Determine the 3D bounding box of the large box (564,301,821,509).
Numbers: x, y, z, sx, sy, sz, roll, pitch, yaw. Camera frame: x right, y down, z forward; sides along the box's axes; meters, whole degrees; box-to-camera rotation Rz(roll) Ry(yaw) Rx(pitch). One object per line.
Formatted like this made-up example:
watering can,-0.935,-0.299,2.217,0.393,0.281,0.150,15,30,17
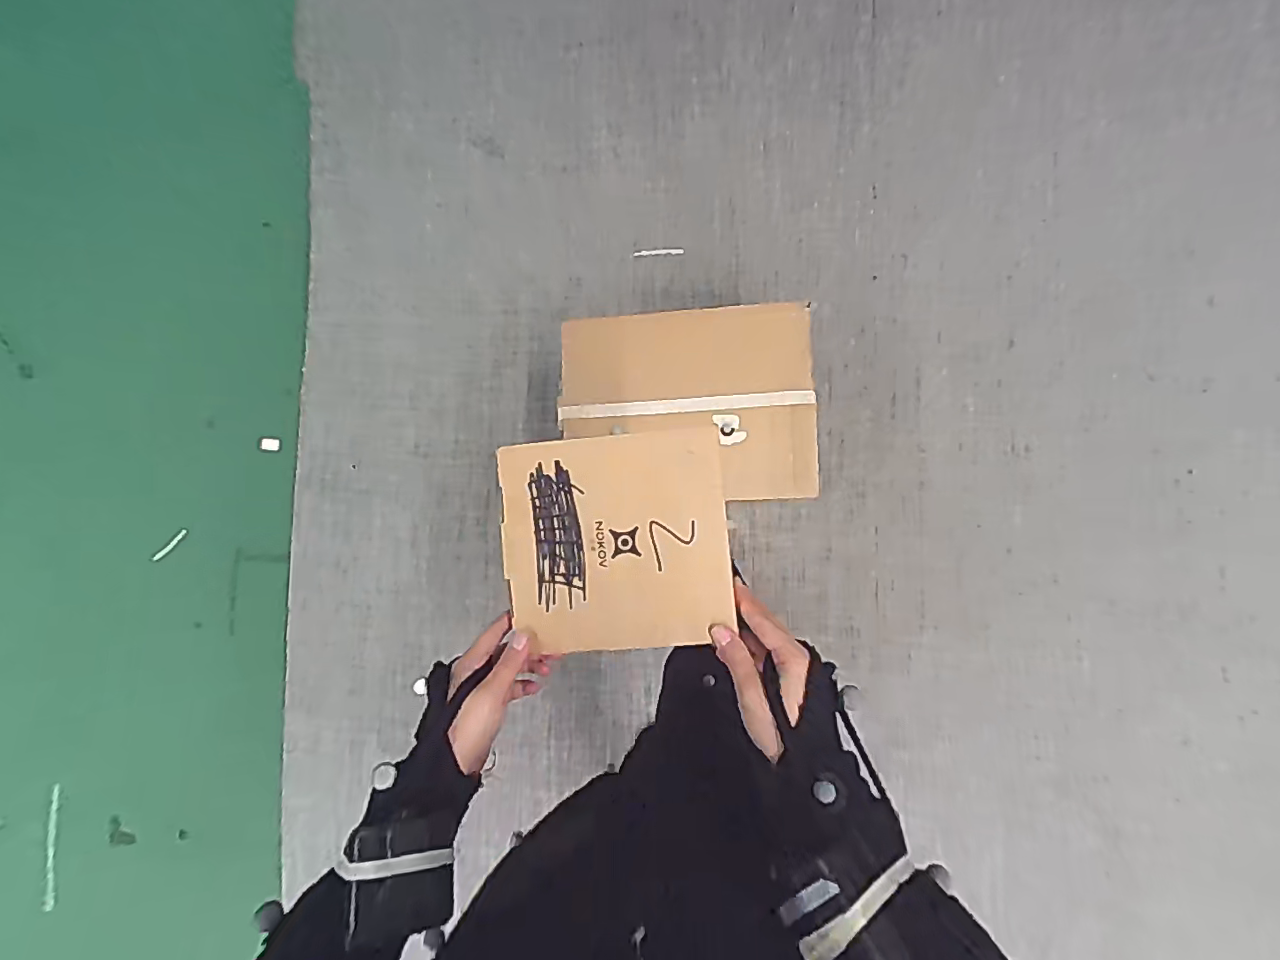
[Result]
large box,0.095,-0.111,1.017,0.408,0.320,0.320,-3,87,8
